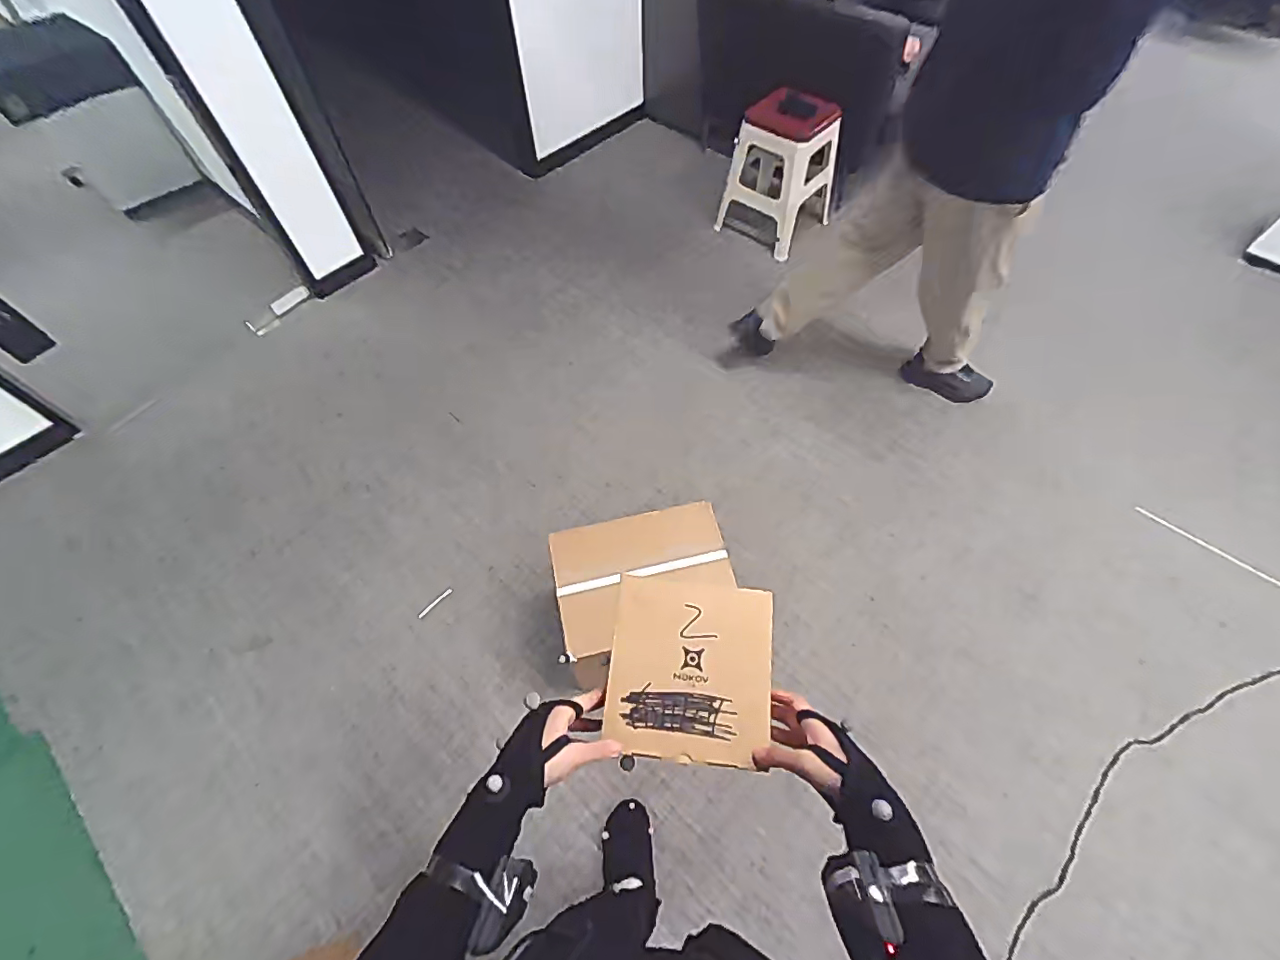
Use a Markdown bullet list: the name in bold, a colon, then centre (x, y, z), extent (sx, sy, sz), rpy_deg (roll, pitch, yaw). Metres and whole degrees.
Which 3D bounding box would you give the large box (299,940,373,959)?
- **large box**: centre (-0.575, 1.091, 0.880), extent (0.320, 0.320, 0.408), rpy_deg (24, 62, 17)
